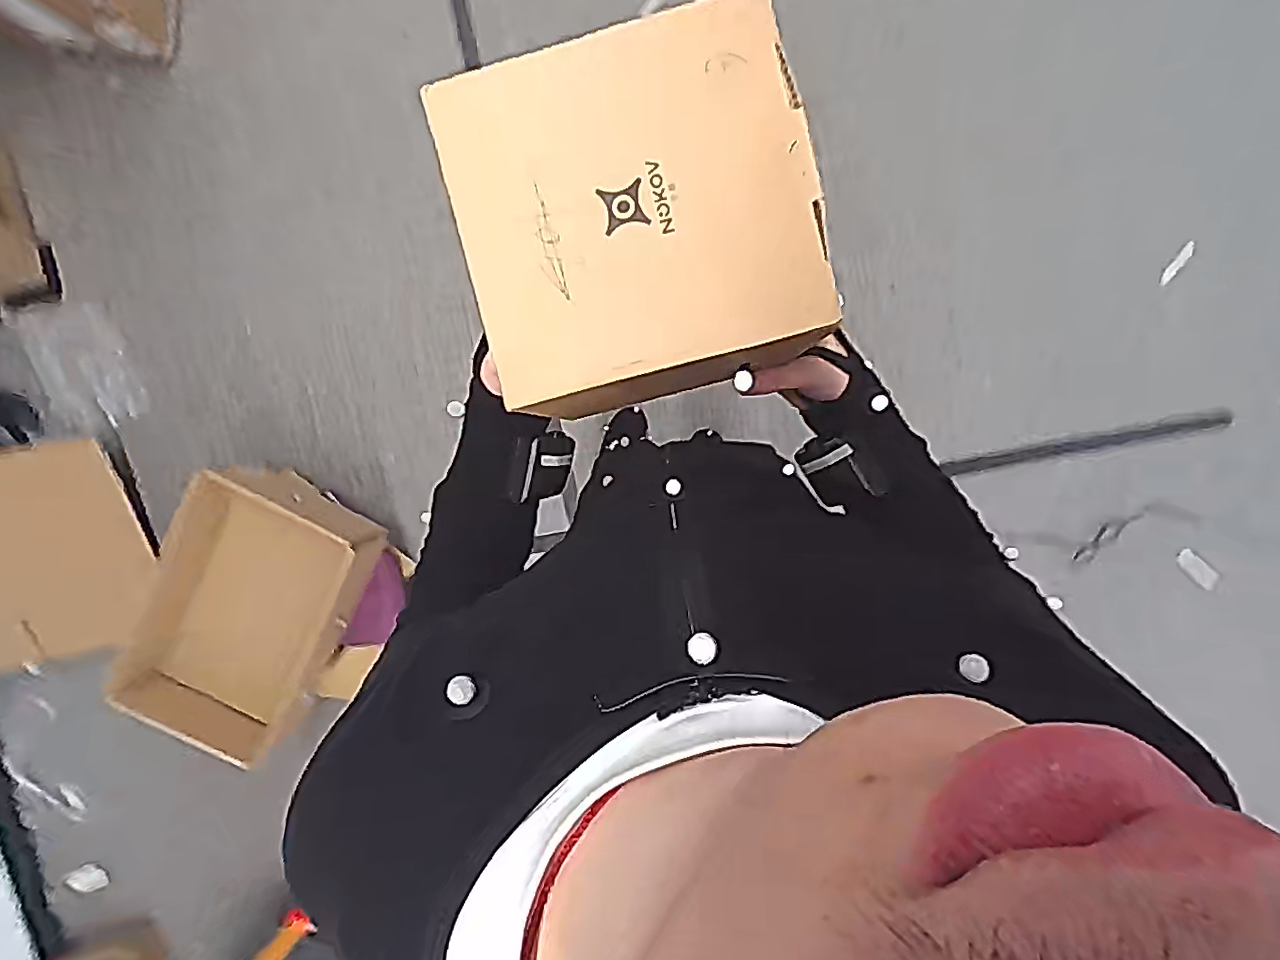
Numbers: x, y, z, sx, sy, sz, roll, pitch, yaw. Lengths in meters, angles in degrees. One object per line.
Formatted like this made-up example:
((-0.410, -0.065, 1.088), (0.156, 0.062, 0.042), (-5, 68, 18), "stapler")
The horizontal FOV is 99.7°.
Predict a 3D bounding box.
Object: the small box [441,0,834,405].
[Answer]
((0.003, -0.150, 0.355), (0.179, 0.176, 0.168), (-13, 93, 5), "small box")
